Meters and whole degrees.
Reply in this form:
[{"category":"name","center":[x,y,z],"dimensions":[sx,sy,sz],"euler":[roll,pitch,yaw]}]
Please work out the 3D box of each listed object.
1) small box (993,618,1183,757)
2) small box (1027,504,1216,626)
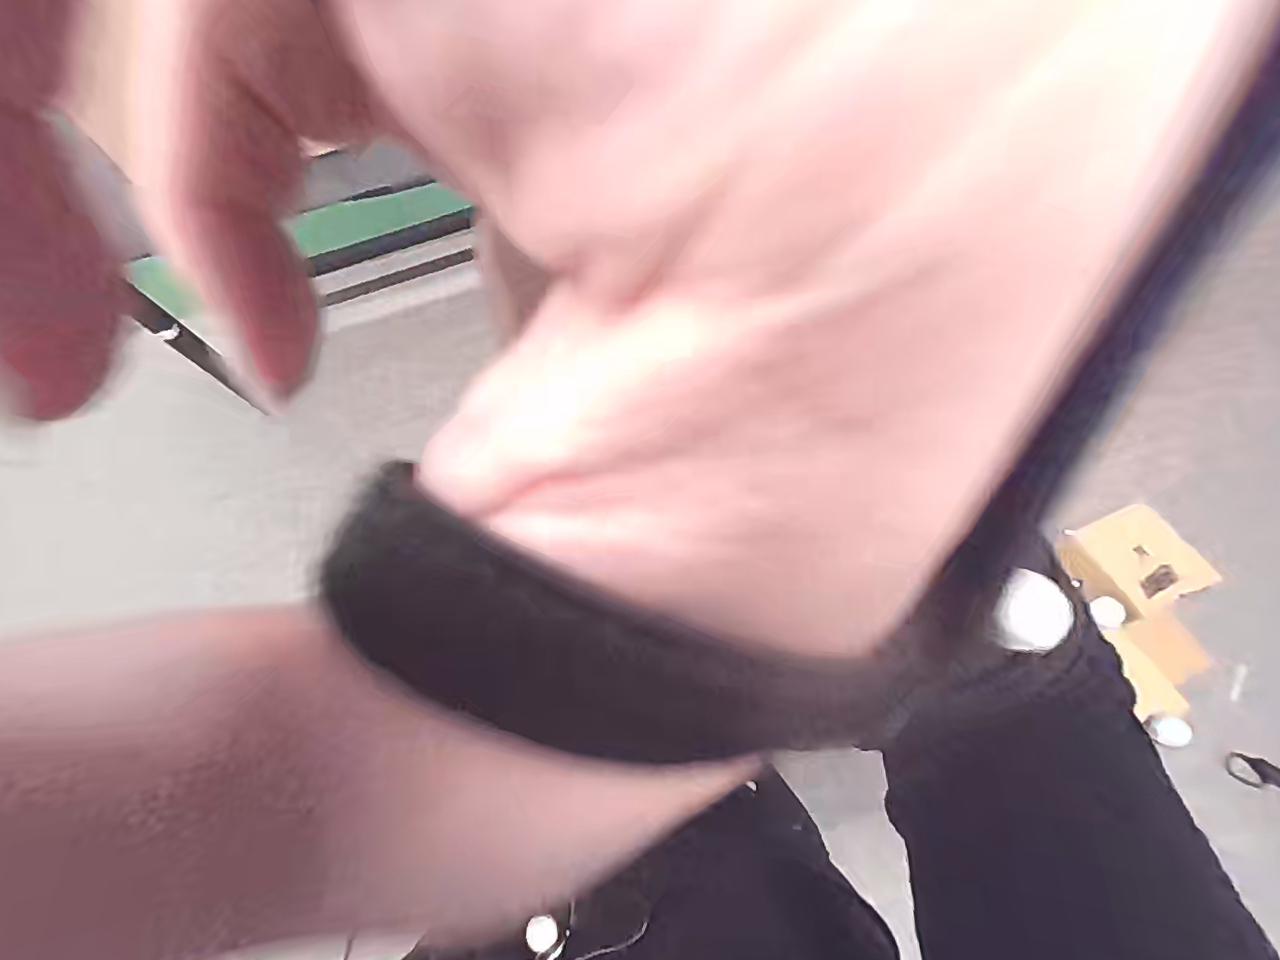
[{"category":"small box","center":[0.780,0.375,0.974],"dimensions":[0.179,0.176,0.168],"euler":[-26,67,-8]},{"category":"small box","center":[0.918,0.180,1.052],"dimensions":[0.168,0.176,0.179],"euler":[-23,61,-5]}]
